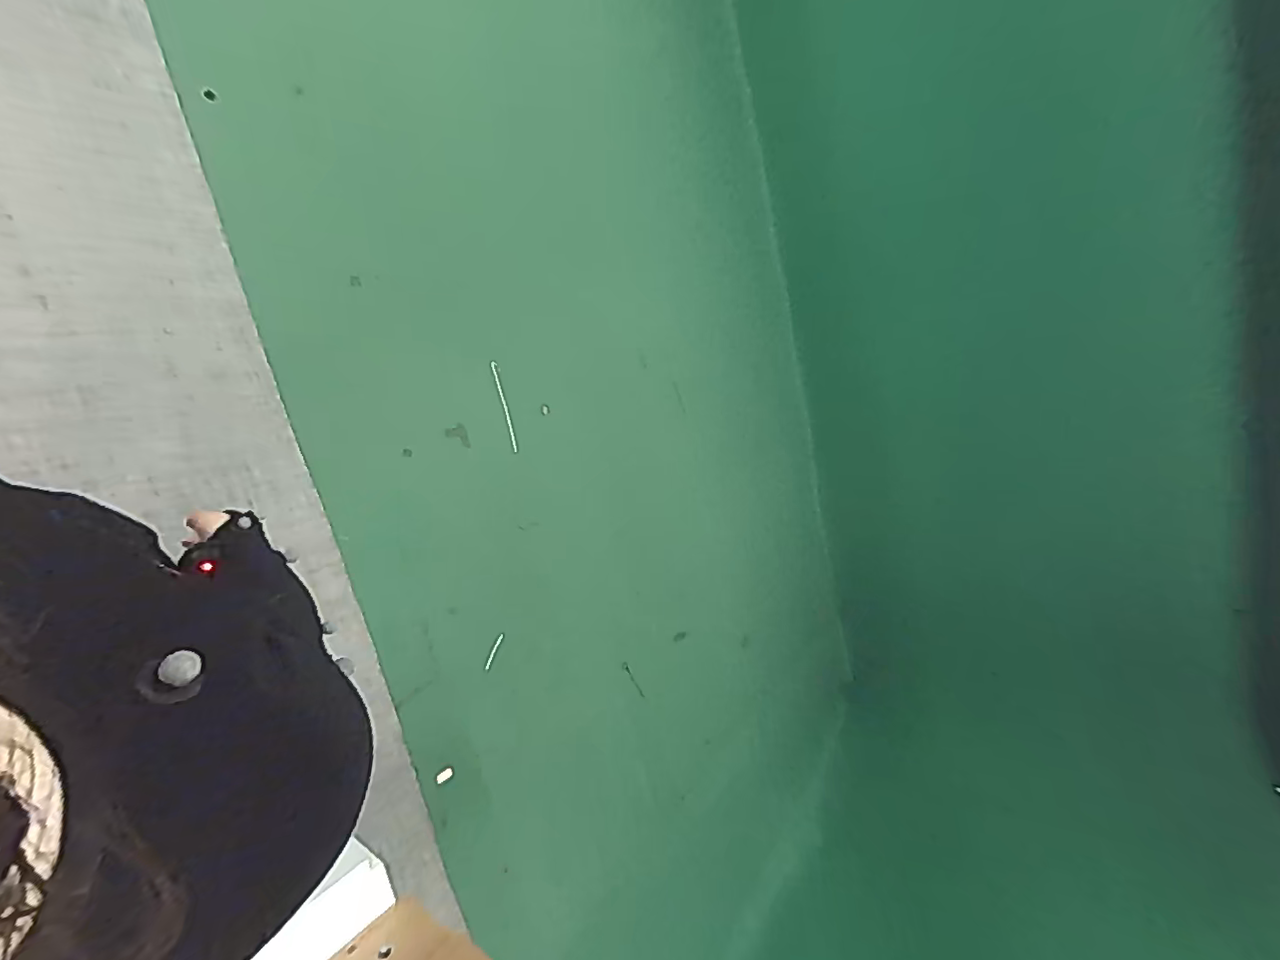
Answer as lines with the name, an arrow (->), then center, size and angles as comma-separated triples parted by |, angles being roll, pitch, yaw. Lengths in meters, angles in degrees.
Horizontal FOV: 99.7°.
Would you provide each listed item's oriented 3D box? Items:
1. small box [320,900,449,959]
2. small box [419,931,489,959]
small box -> -0.383, 0.800, 0.832 | 0.168, 0.176, 0.179 | -21, 103, -47
small box -> -0.263, 0.777, 0.724 | 0.179, 0.176, 0.168 | -24, 106, -49
